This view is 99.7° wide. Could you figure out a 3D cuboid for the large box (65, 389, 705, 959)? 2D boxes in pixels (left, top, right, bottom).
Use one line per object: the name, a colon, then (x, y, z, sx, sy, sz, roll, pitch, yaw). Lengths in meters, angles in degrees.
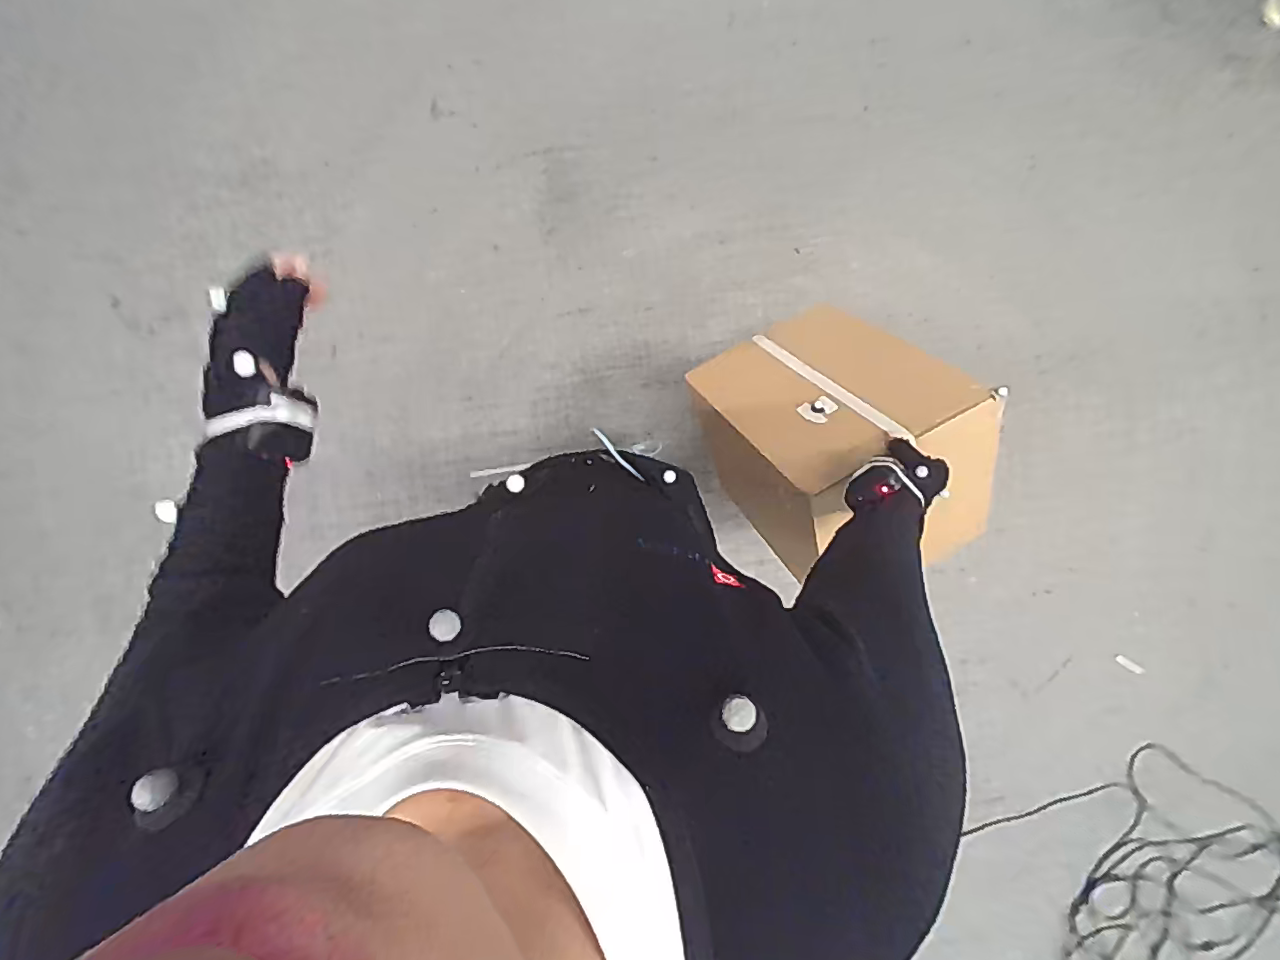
large box: (-0.199, 0.158, 0.509, 0.408, 0.320, 0.320, 30, 68, -42)
